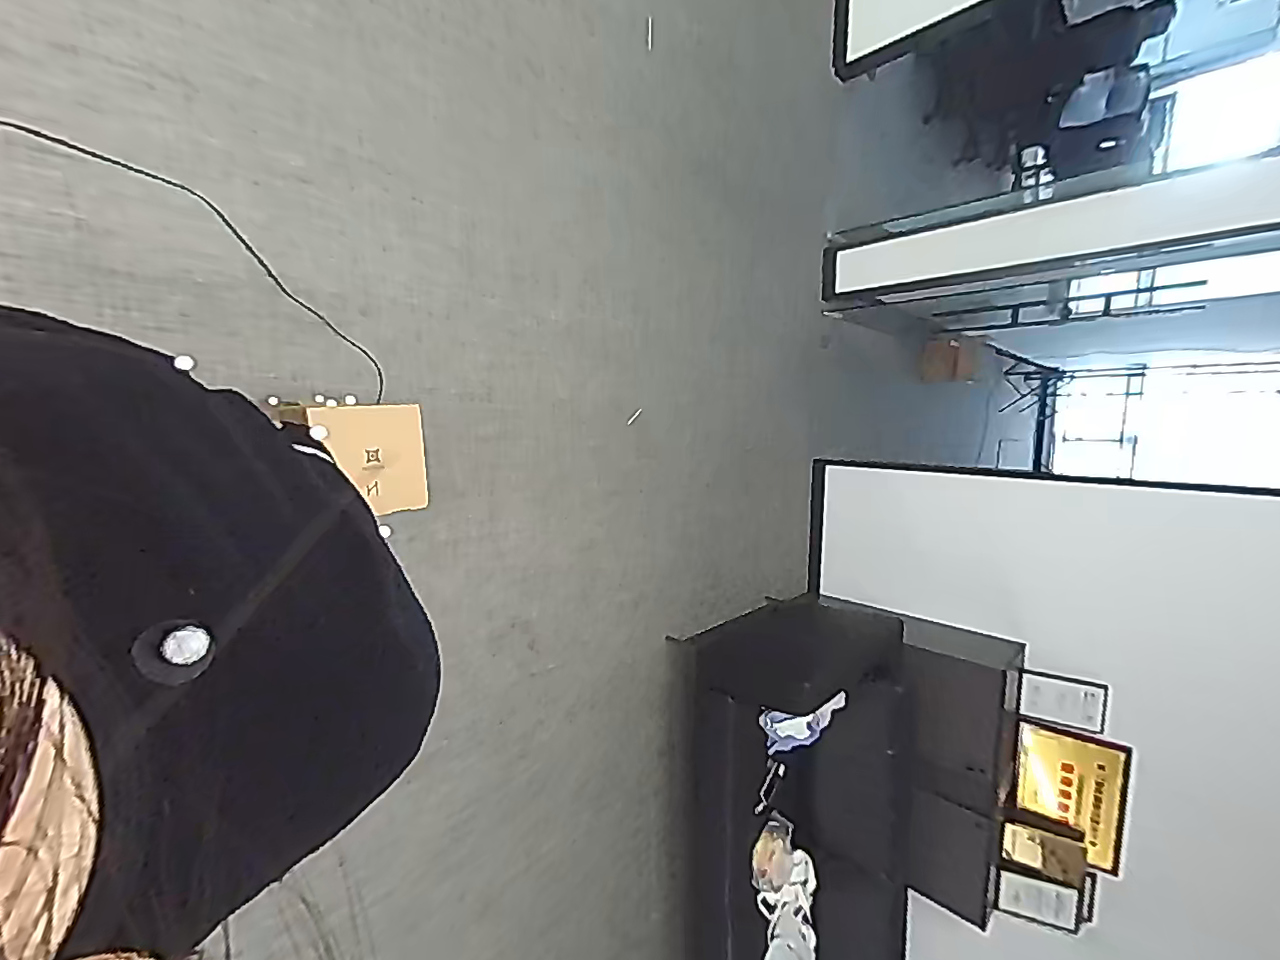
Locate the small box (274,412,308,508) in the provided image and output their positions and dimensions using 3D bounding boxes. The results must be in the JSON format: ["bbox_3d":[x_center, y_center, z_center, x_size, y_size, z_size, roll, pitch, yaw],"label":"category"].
[{"bbox_3d":[-0.574,-0.047,1.025,0.179,0.176,0.168,-11,103,-44],"label":"small box"}]

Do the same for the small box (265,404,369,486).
[{"bbox_3d":[-0.678,-0.069,1.149,0.168,0.176,0.179,-11,103,-42],"label":"small box"}]

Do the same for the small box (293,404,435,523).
[{"bbox_3d":[-0.462,-0.035,0.904,0.168,0.176,0.179,-9,101,-43],"label":"small box"}]
